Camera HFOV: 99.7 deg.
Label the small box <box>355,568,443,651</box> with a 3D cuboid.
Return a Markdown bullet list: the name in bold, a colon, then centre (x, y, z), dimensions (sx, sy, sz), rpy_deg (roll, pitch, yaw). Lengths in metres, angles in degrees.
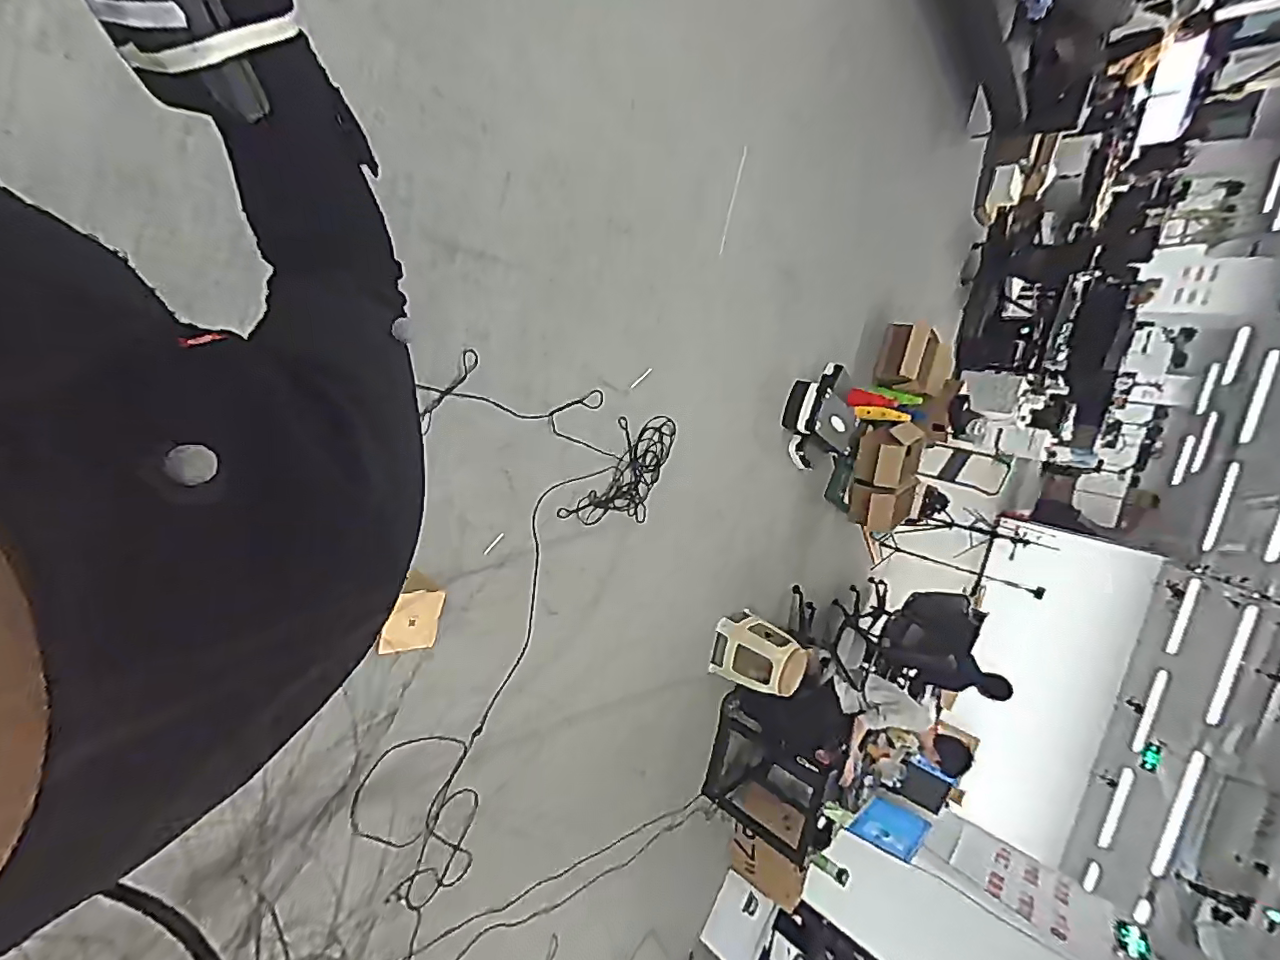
- **small box**: centre (-0.700, 0.367, 1.563), dimensions (0.168, 0.176, 0.179), rpy_deg (7, 98, -50)
